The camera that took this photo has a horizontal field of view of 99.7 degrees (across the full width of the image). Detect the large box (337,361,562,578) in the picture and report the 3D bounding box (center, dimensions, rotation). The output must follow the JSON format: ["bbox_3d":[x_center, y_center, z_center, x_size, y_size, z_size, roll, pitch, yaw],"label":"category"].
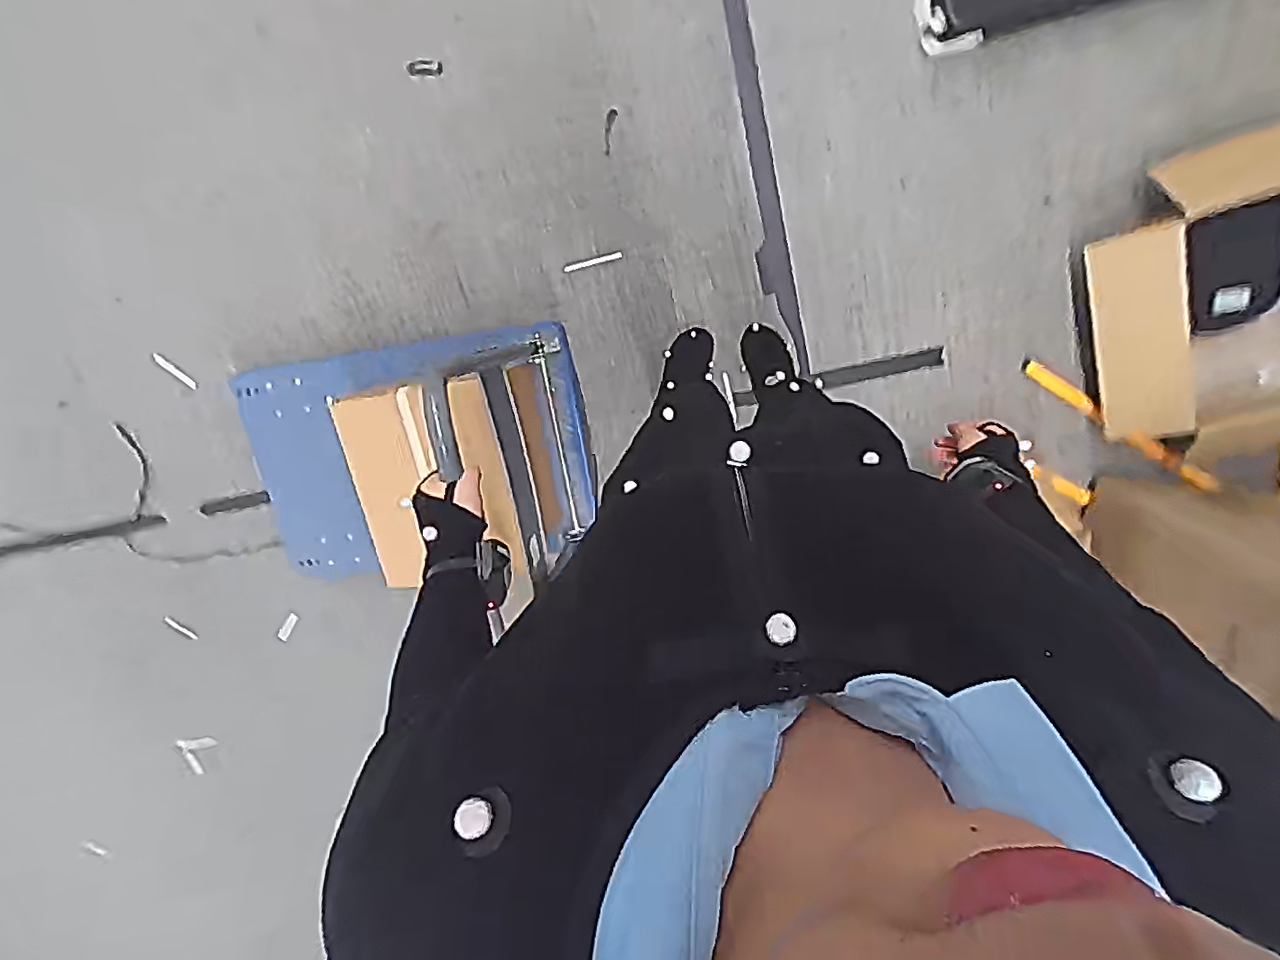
[{"bbox_3d":[-0.393,-0.036,1.223,0.320,0.320,0.408,-7,106,7],"label":"large box"}]
